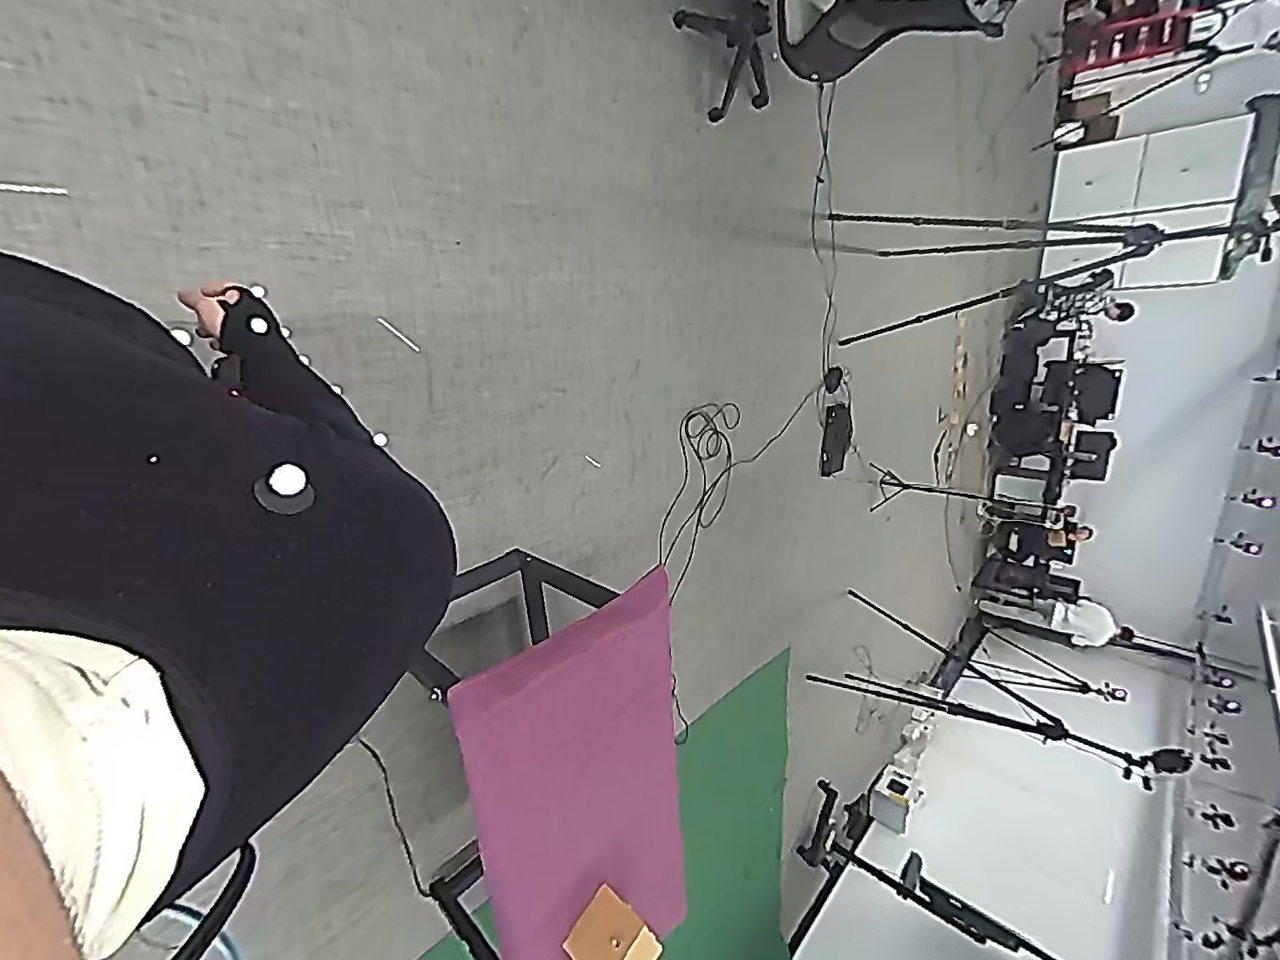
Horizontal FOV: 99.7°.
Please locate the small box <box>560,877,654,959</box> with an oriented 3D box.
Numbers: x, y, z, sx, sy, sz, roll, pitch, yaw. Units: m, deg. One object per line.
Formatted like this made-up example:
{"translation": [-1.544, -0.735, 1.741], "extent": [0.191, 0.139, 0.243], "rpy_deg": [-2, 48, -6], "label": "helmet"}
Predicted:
{"translation": [-0.097, 1.256, 1.485], "extent": [0.179, 0.176, 0.168], "rpy_deg": [-42, 127, -32], "label": "small box"}
